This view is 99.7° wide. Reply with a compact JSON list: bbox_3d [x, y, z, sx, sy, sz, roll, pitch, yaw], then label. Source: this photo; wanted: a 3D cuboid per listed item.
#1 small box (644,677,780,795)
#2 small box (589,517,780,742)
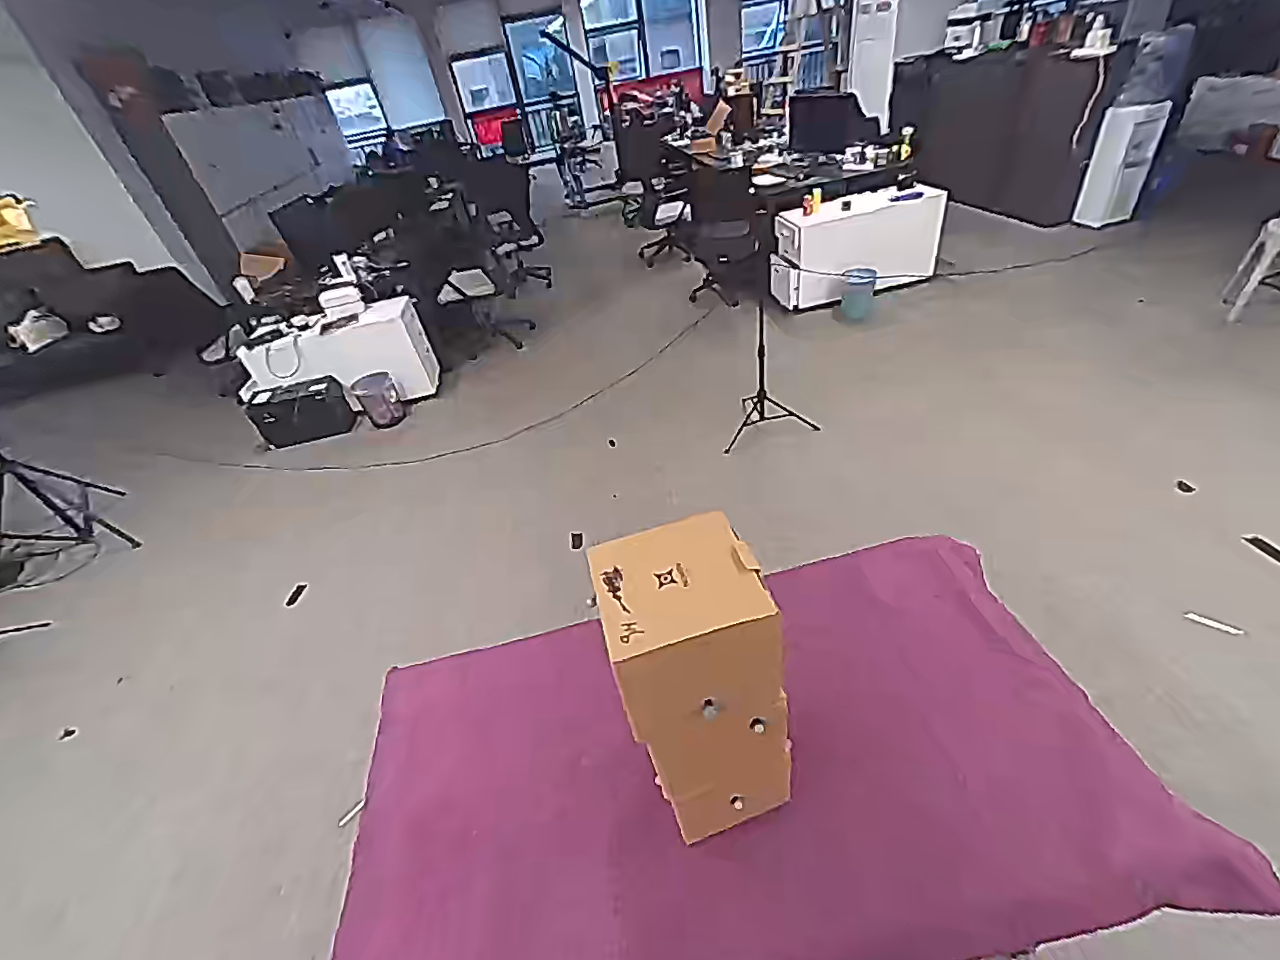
[{"bbox_3d":[0.082,0.298,0.741,0.179,0.176,0.168,-15,38,-5],"label":"small box"},{"bbox_3d":[0.049,0.174,0.638,0.179,0.176,0.168,-14,37,-5],"label":"small box"}]
